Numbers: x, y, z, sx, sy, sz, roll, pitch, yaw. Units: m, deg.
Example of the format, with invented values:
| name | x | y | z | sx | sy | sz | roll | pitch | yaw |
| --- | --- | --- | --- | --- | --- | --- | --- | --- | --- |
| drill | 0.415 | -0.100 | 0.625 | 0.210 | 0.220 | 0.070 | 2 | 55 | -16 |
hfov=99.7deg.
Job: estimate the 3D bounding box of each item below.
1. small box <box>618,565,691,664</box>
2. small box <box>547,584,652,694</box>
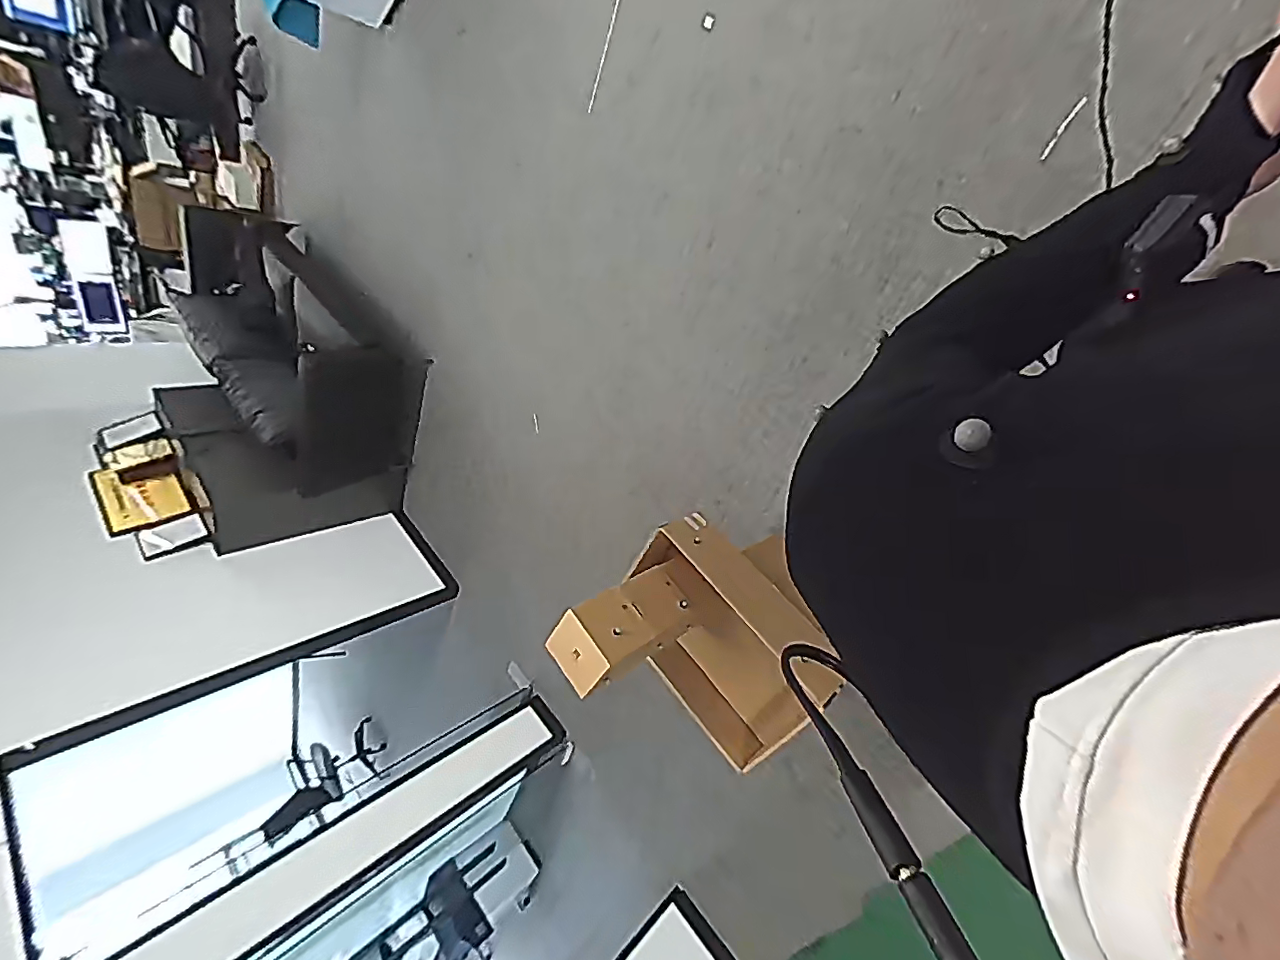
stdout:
| name | x | y | z | sx | sy | sz | roll | pitch | yaw |
| --- | --- | --- | --- | --- | --- | --- | --- | --- | --- |
| small box | 0.013 | 0.357 | 1.463 | 0.168 | 0.176 | 0.179 | 49 | 130 | 21 |
| small box | -0.096 | 0.388 | 1.347 | 0.168 | 0.176 | 0.179 | 49 | 130 | 21 |
